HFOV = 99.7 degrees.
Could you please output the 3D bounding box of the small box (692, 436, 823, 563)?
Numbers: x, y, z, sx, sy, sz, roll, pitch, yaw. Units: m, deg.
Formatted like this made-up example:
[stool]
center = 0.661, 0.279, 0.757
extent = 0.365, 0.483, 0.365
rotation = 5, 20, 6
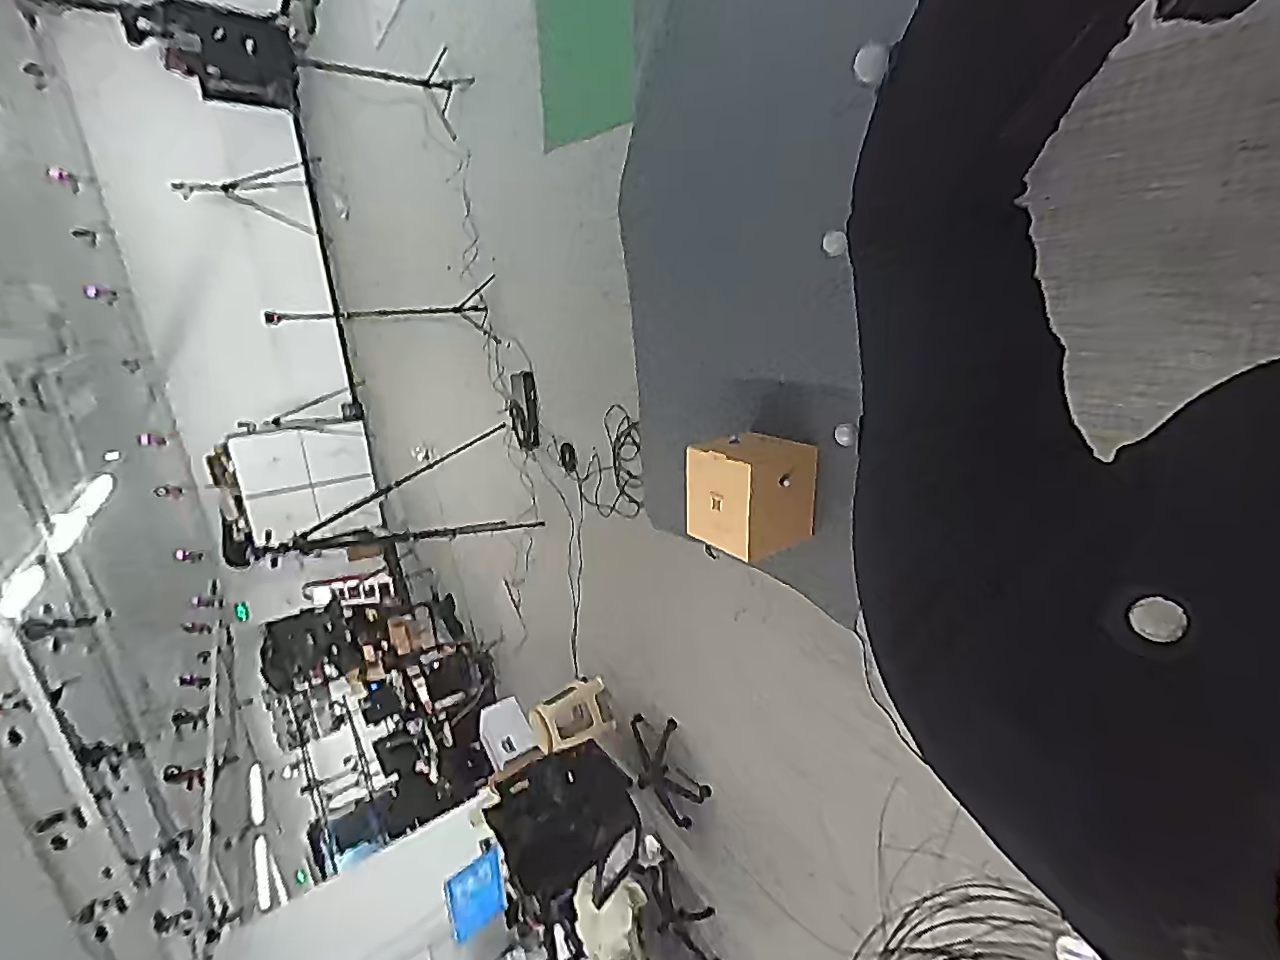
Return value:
[small box]
center = 0.213, 0.024, 0.984
extent = 0.168, 0.176, 0.179
rotation = 22, 121, 53
